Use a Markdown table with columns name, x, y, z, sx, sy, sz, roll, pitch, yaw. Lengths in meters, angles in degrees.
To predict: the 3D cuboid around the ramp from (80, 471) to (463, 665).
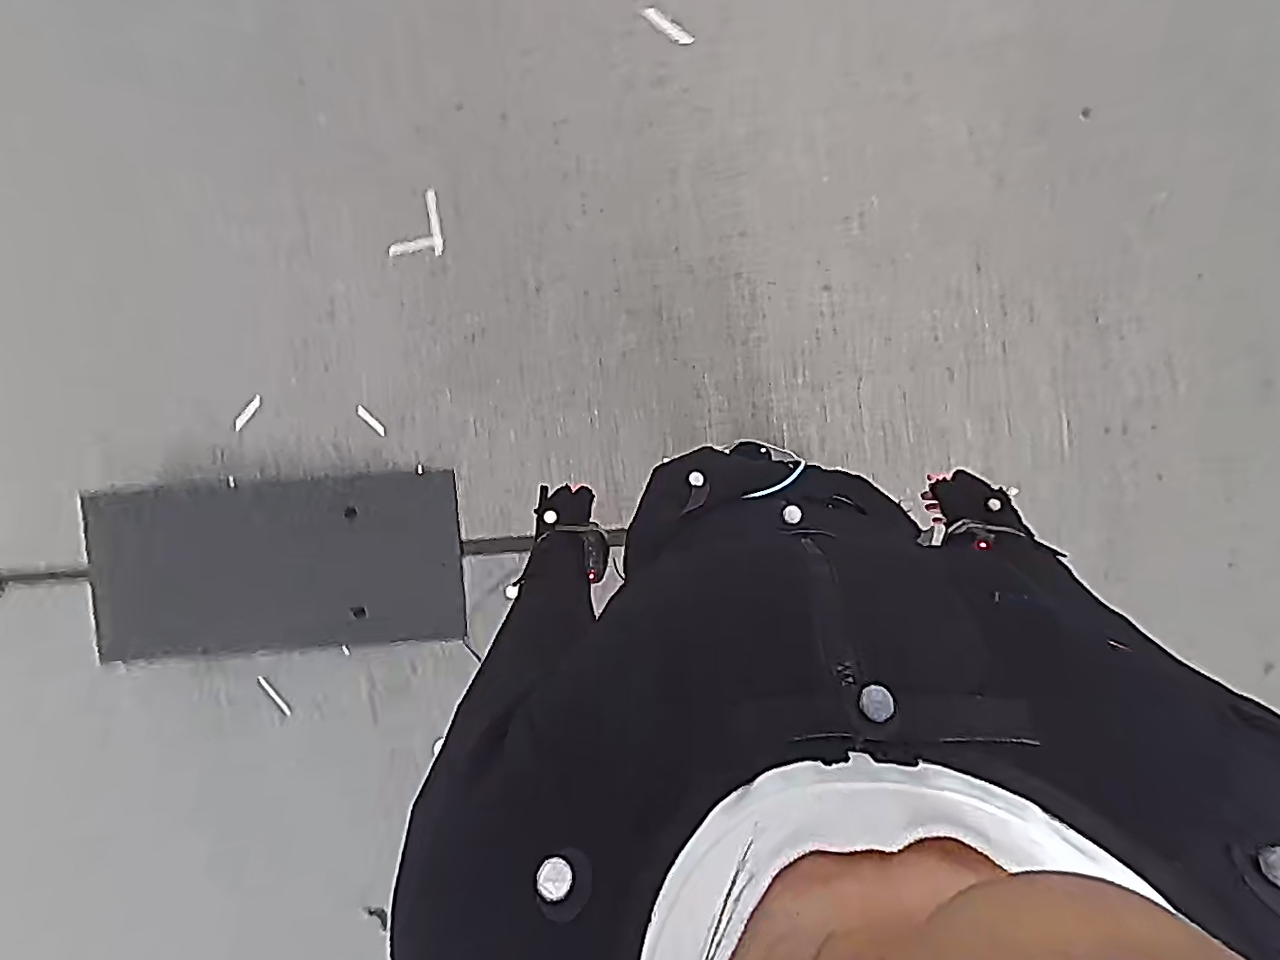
| name | x | y | z | sx | sy | sz | roll | pitch | yaw |
| --- | --- | --- | --- | --- | --- | --- | --- | --- | --- |
| ramp | -1.020 | 0.242 | 1.522 | 0.991 | 0.206 | 0.509 | -4 | 92 | 7 |
